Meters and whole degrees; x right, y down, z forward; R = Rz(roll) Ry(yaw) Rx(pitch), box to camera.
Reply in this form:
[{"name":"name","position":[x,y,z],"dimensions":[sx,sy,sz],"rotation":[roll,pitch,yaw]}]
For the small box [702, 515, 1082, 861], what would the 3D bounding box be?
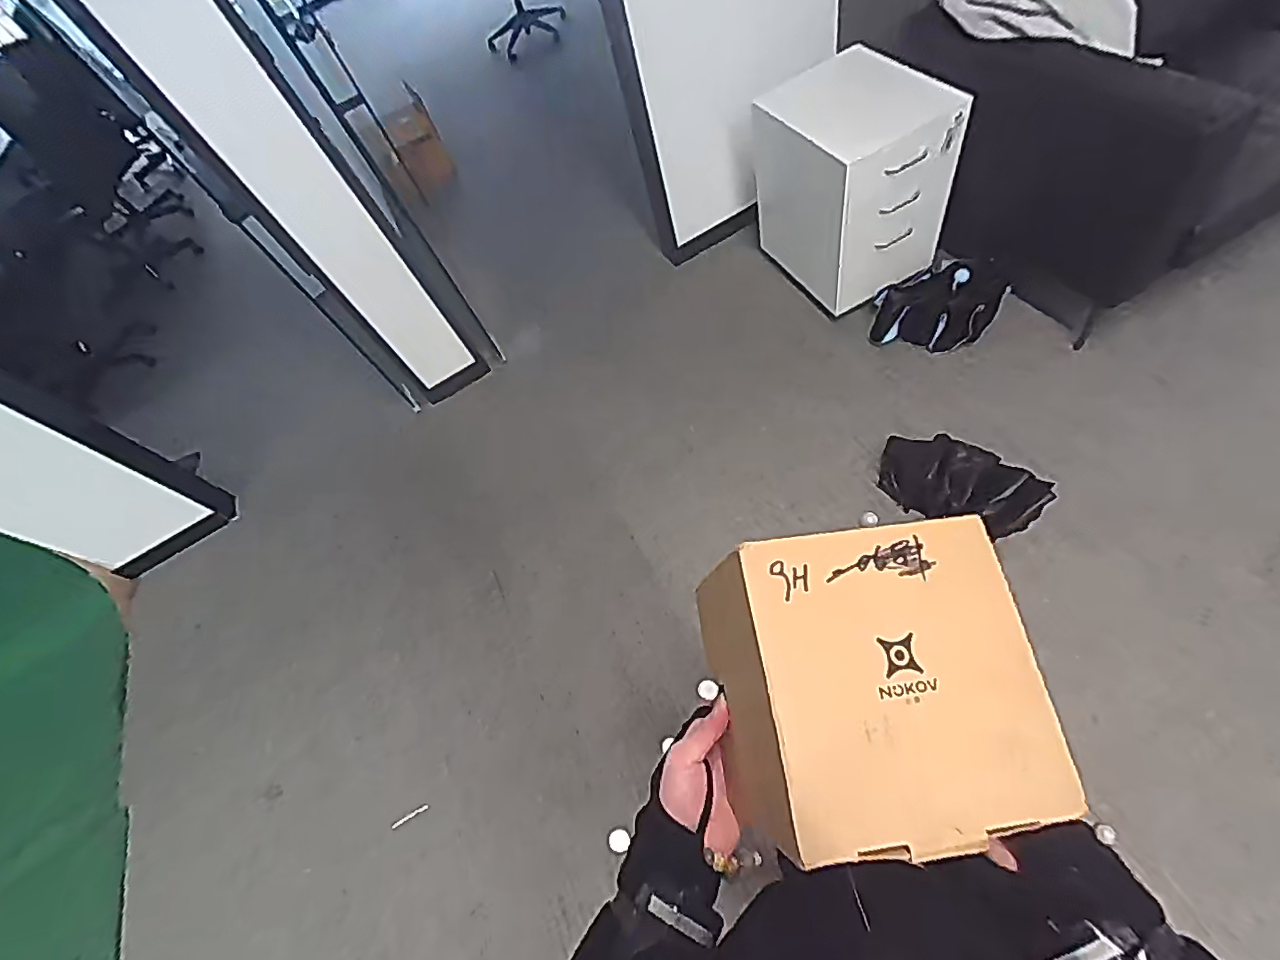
[{"name":"small box","position":[0.149,0.137,0.393],"dimensions":[0.168,0.176,0.179],"rotation":[-6,71,-7]}]
